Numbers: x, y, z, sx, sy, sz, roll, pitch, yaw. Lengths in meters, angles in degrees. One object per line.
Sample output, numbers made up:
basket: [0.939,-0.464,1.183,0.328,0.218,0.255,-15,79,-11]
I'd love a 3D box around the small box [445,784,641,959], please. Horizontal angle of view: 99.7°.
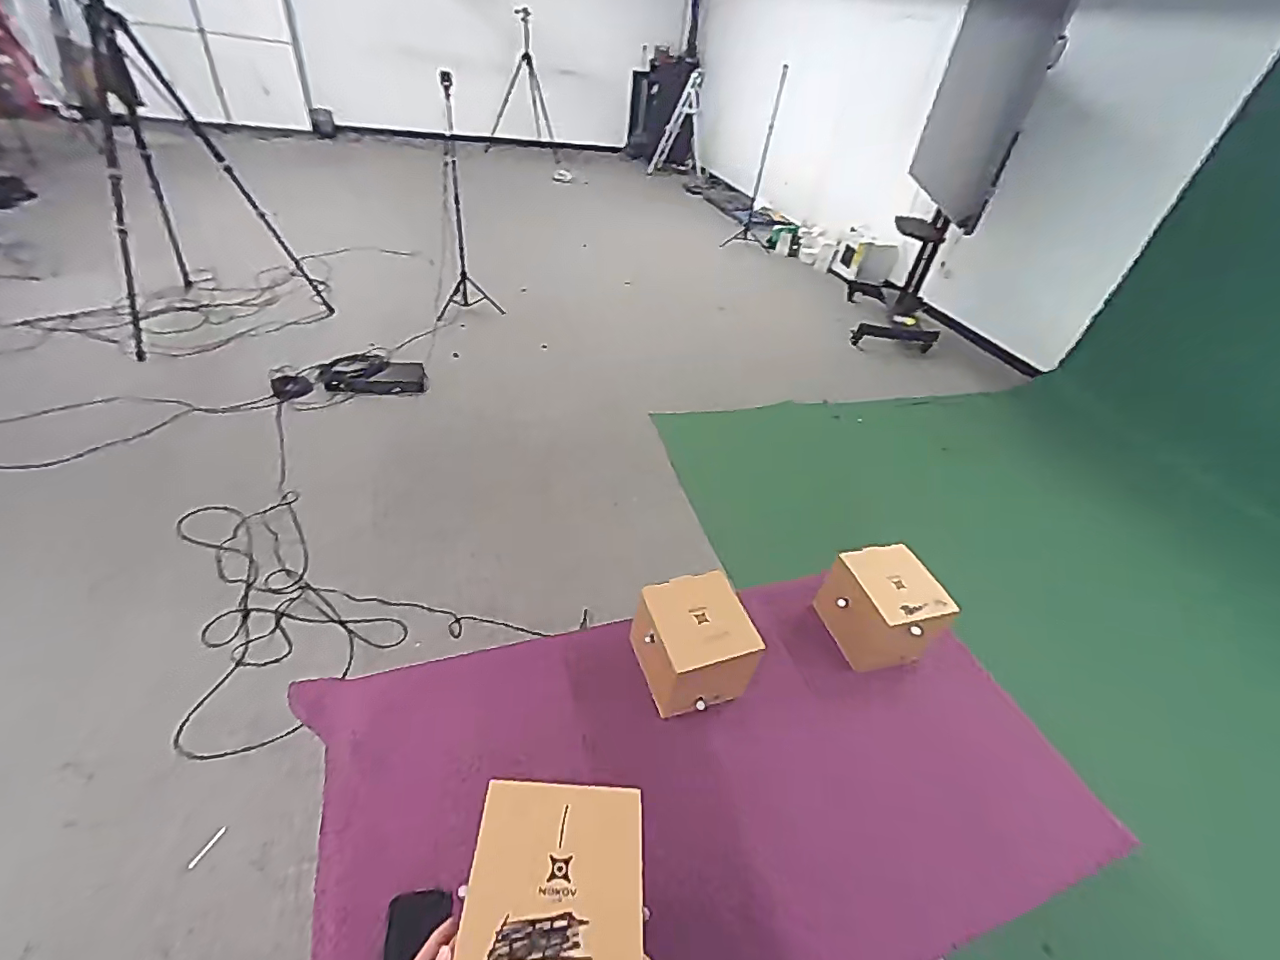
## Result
small box: [-0.092,0.442,0.547,0.168,0.176,0.179,7,35,-5]

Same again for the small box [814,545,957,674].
small box: [0.479,0.259,1.090,0.168,0.176,0.179,-6,42,-16]

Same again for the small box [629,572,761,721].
small box: [0.087,0.297,0.973,0.168,0.176,0.179,-9,43,-19]
